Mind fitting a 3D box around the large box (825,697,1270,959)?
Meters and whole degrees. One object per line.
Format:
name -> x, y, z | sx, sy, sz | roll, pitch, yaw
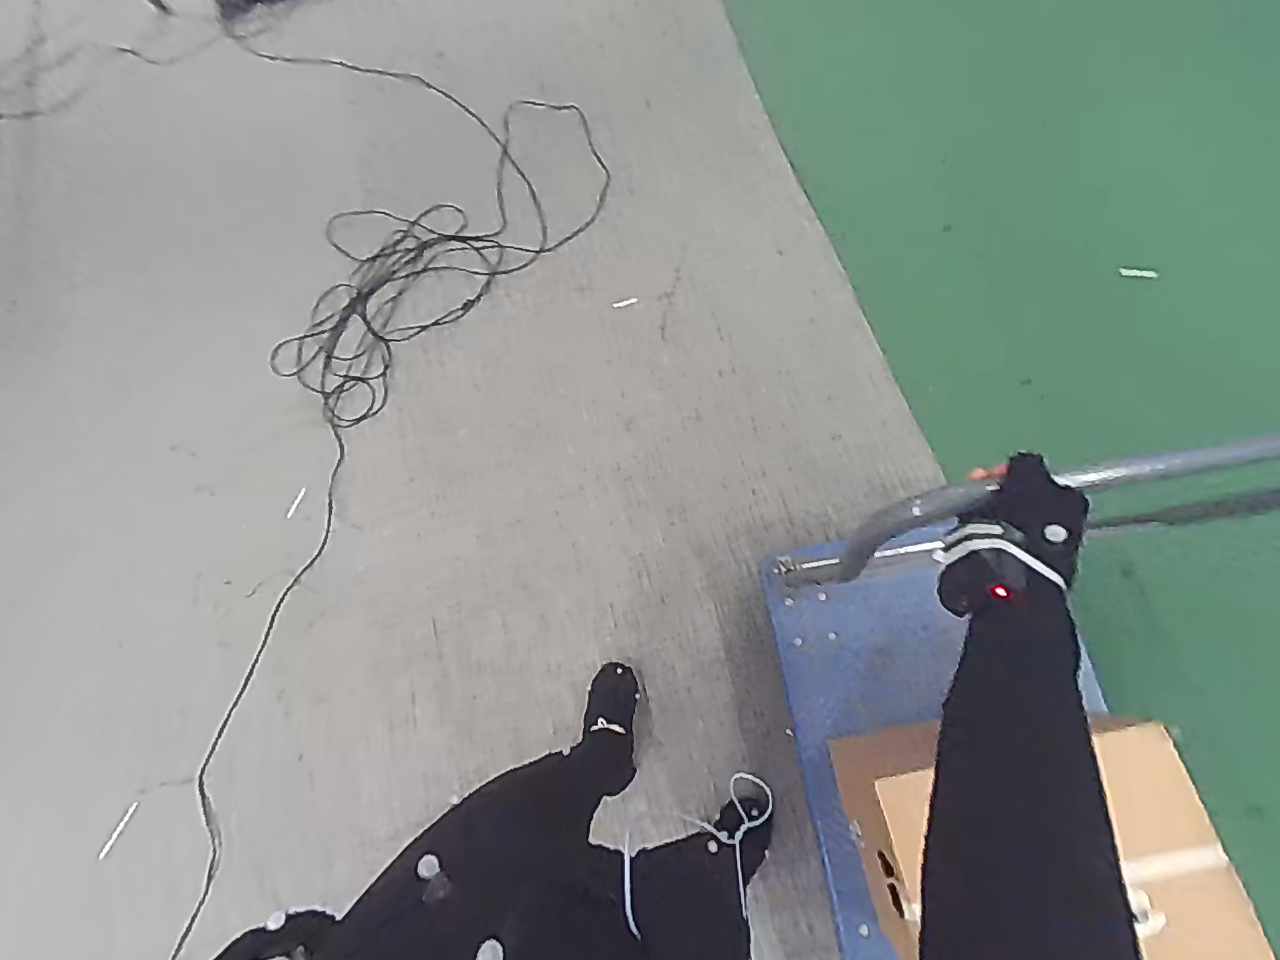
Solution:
large box -> 0.563, 0.557, 0.849 | 0.408, 0.320, 0.320 | -14, 73, 2
